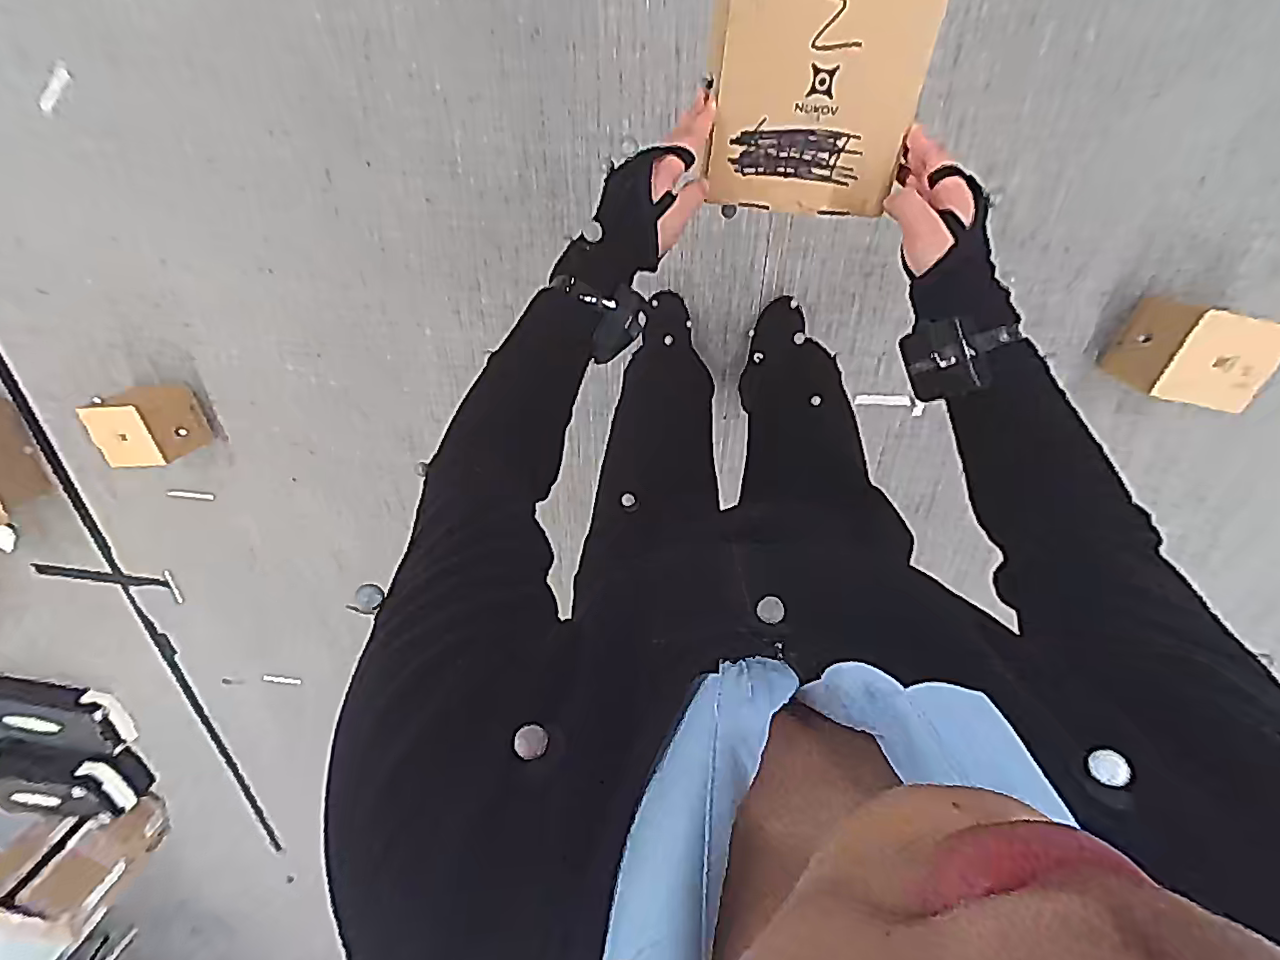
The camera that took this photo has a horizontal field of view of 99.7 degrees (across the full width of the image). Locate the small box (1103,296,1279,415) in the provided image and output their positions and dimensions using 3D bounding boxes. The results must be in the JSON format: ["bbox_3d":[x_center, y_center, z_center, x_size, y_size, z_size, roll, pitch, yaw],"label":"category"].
[{"bbox_3d":[1.072,-0.249,1.051,0.179,0.176,0.168,13,120,1],"label":"small box"}]

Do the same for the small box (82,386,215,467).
[{"bbox_3d":[-1.290,-0.146,1.441,0.179,0.176,0.168,-1,118,9],"label":"small box"}]
